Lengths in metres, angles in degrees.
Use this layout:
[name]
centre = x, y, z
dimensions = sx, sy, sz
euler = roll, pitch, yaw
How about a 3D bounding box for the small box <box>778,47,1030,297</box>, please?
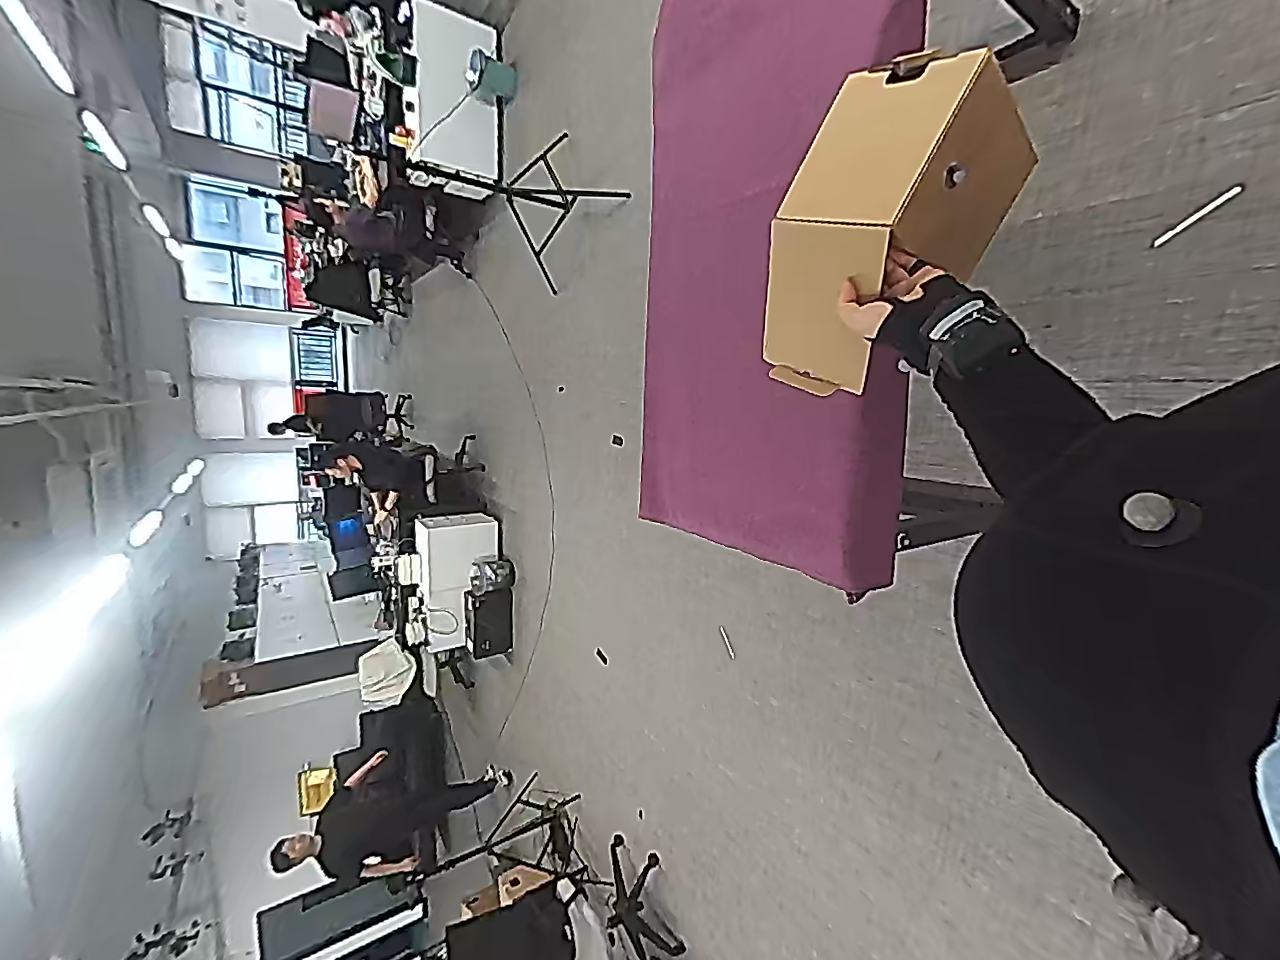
[small box]
centre = 0.301, -0.333, 0.618
dimensions = 0.168, 0.176, 0.179
euler = 40, 105, 49
